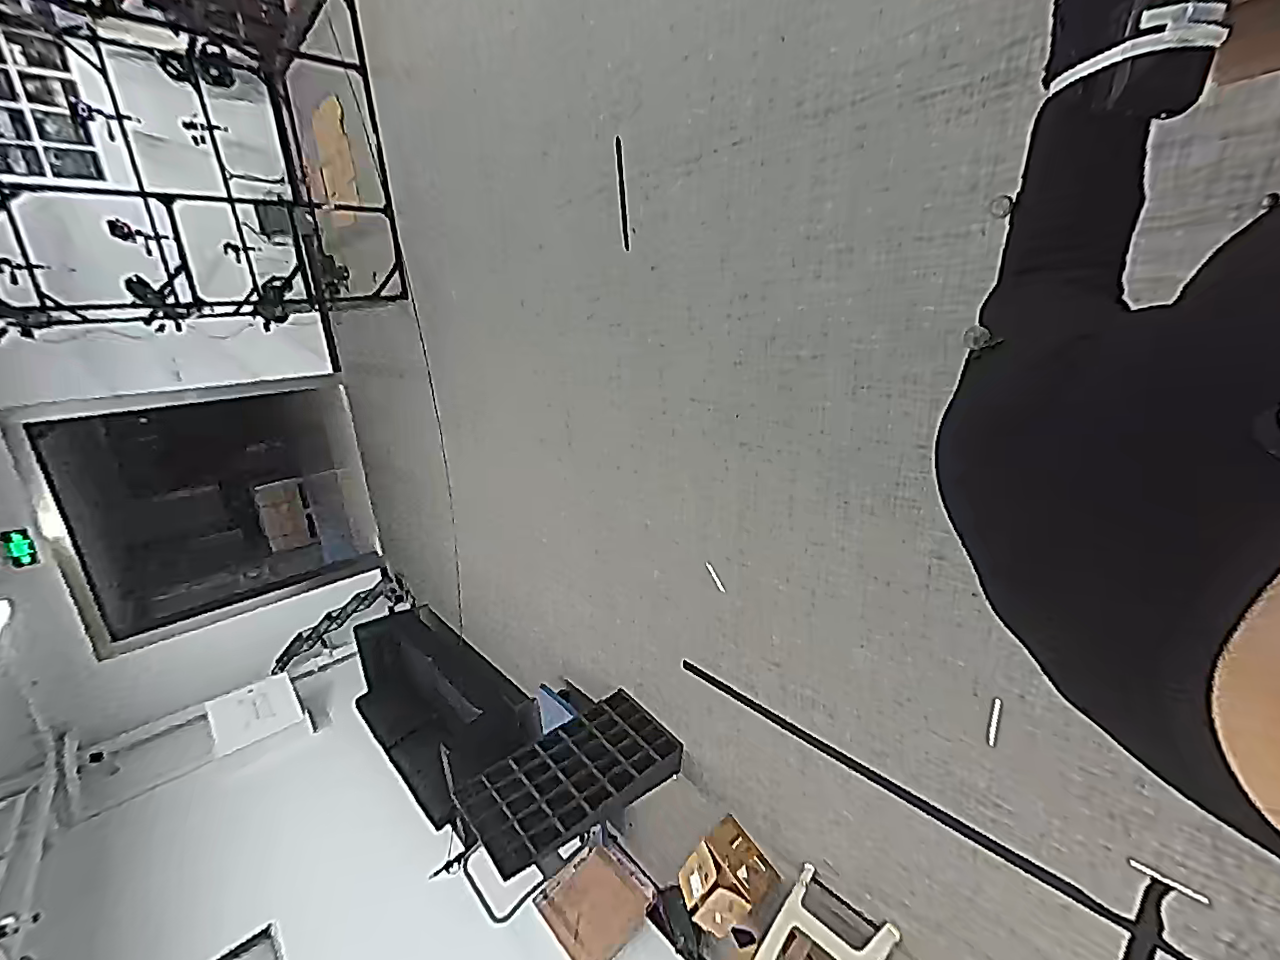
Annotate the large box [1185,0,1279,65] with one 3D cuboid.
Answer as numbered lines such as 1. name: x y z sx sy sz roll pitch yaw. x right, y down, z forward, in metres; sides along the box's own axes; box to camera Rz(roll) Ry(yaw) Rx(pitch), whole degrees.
1. large box: 0.572 -0.478 0.257 0.408 0.320 0.320 12 119 47
